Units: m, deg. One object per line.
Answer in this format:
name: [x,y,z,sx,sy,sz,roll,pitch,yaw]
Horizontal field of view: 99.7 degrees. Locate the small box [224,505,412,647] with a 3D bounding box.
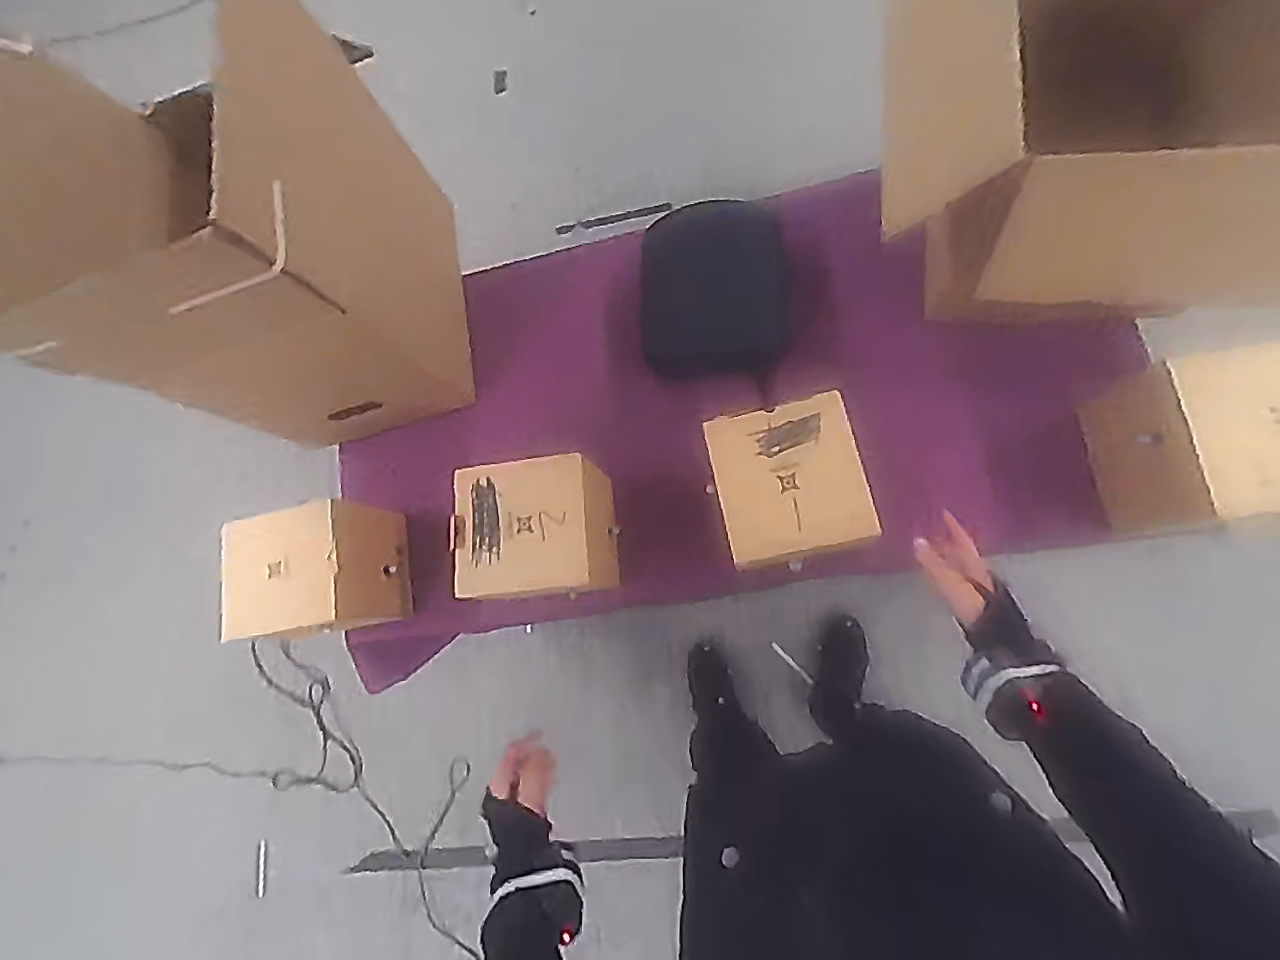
small box: [-0.469,0.147,0.804,0.179,0.176,0.168,-13,75,7]

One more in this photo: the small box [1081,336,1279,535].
small box: [0.648,-0.041,0.609,0.168,0.176,0.179,-8,76,11]

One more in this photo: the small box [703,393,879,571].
small box: [0.183,0.014,0.697,0.168,0.176,0.179,-14,76,9]
